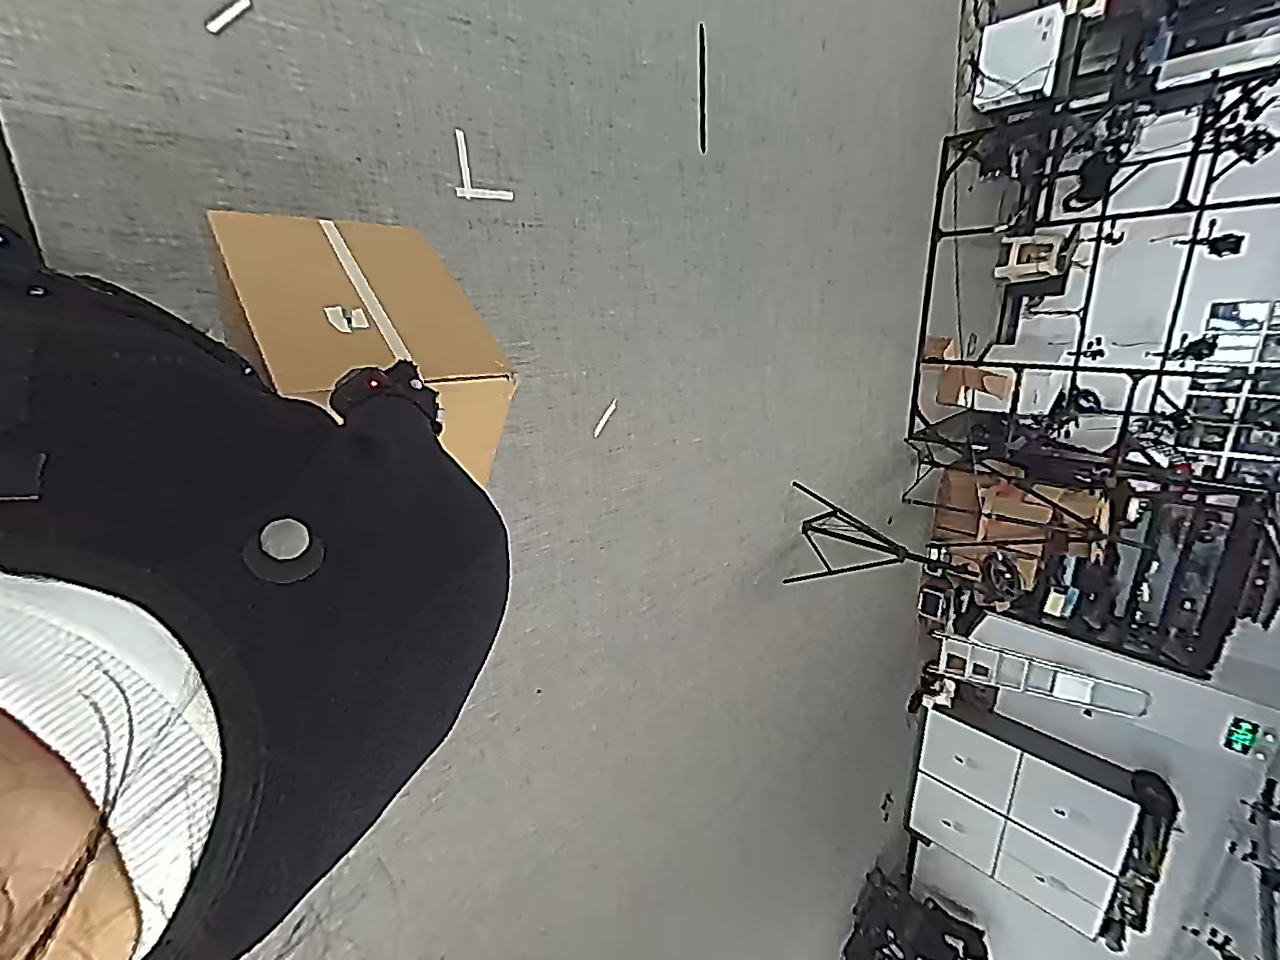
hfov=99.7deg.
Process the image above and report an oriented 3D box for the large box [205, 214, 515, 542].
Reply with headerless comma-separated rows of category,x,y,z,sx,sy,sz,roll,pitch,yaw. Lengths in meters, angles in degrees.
large box,-0.471,-0.172,0.900,0.320,0.408,0.320,-15,149,-40
